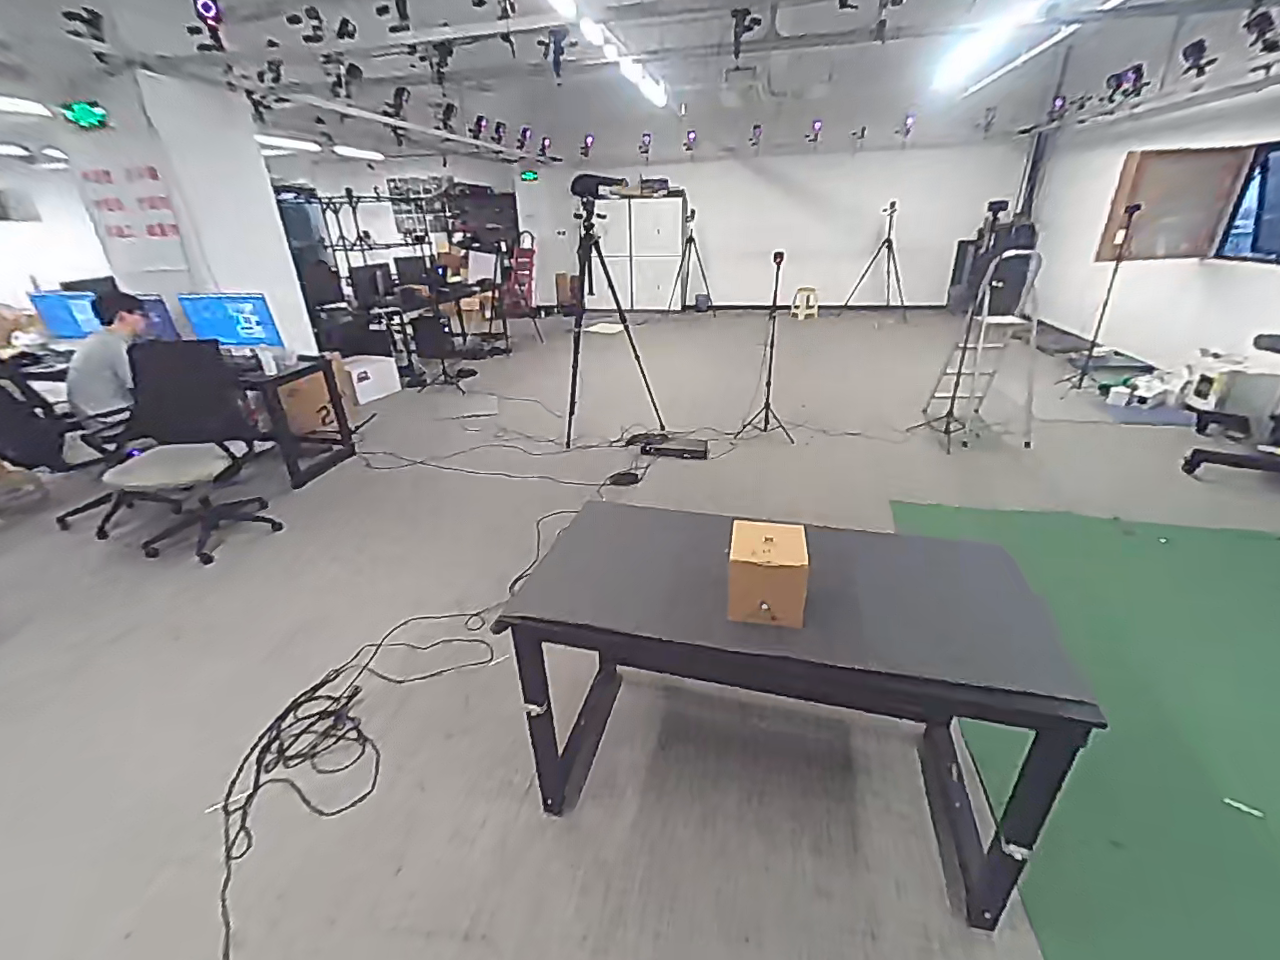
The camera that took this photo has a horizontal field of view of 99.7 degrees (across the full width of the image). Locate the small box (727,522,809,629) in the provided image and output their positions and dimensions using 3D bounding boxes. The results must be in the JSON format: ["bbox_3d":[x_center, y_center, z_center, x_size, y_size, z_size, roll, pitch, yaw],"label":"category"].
[{"bbox_3d":[0.291,0.216,1.247,0.168,0.176,0.179,3,25,11],"label":"small box"}]
